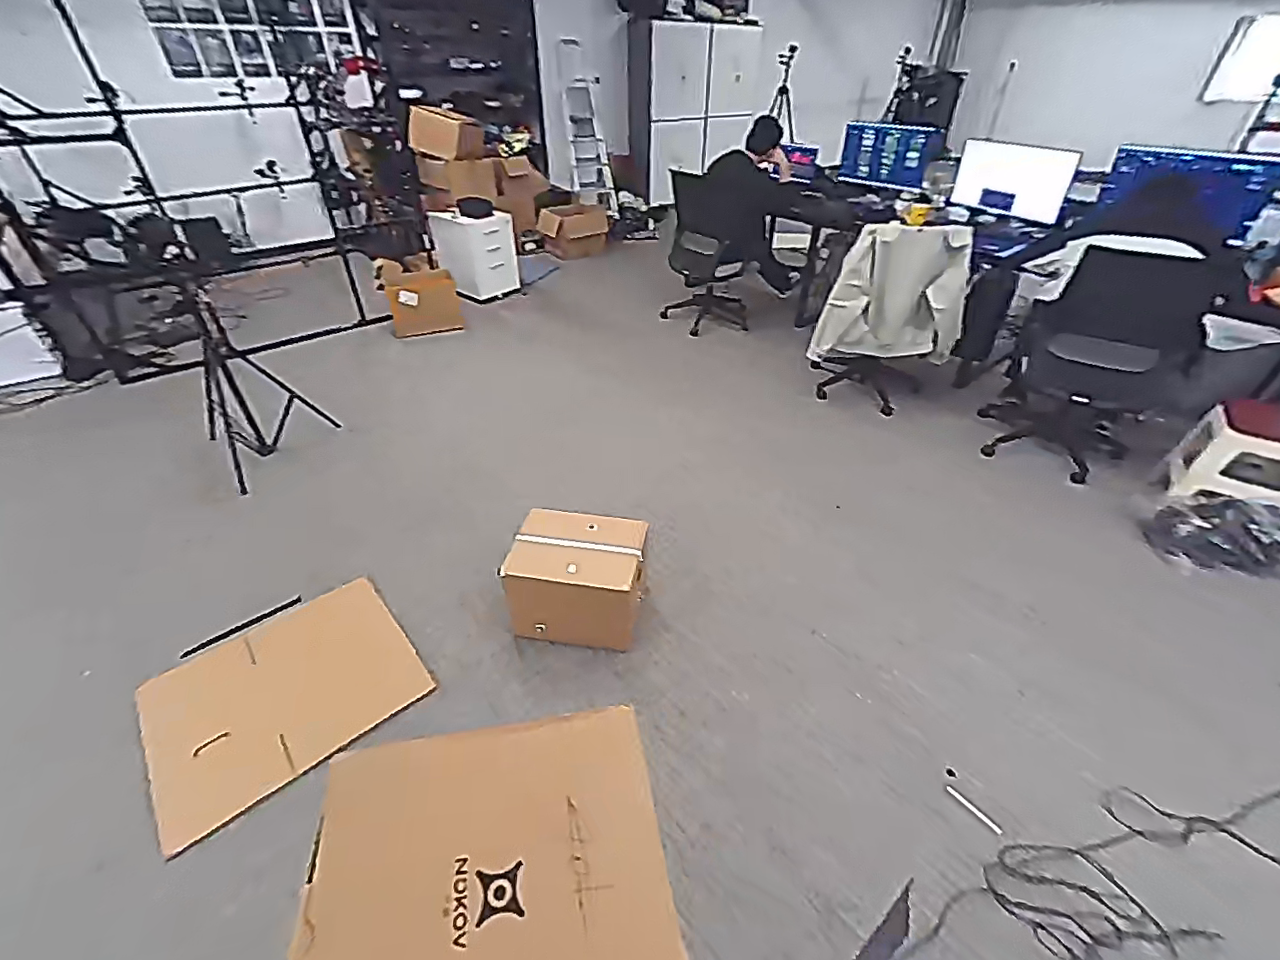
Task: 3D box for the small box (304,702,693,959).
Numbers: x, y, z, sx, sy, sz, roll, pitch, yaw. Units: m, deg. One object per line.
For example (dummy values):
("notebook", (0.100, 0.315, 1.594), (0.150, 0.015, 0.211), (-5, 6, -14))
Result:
("small box", (-0.074, 0.261, 0.319), (0.179, 0.176, 0.168), (-6, 45, -13))
